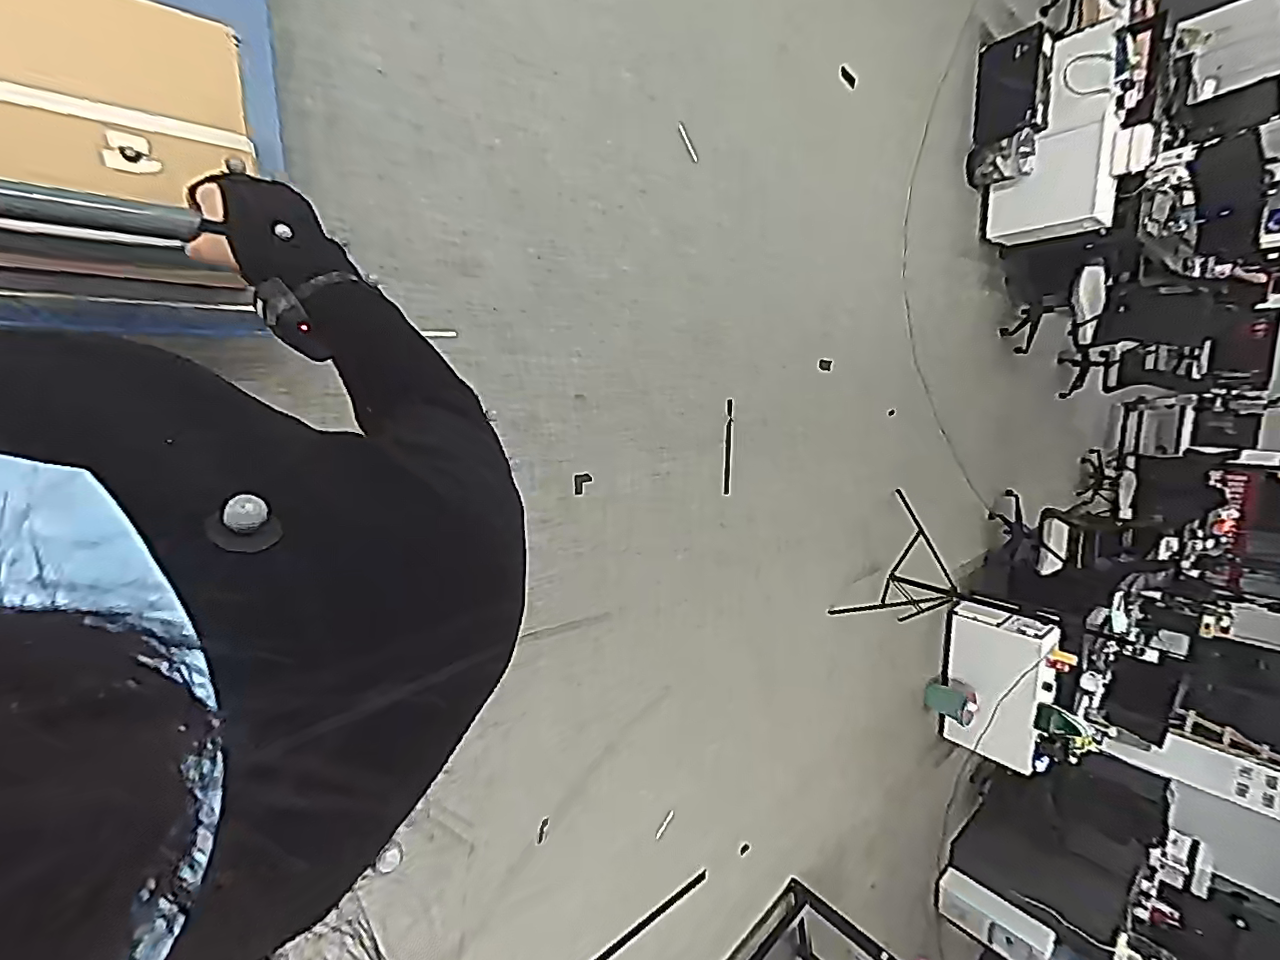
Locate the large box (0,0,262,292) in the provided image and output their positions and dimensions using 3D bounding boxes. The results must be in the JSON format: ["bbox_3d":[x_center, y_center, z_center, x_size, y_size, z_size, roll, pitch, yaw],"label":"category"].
[{"bbox_3d":[-0.824,-0.469,0.779,0.408,0.320,0.320,-9,103,-40],"label":"large box"}]
